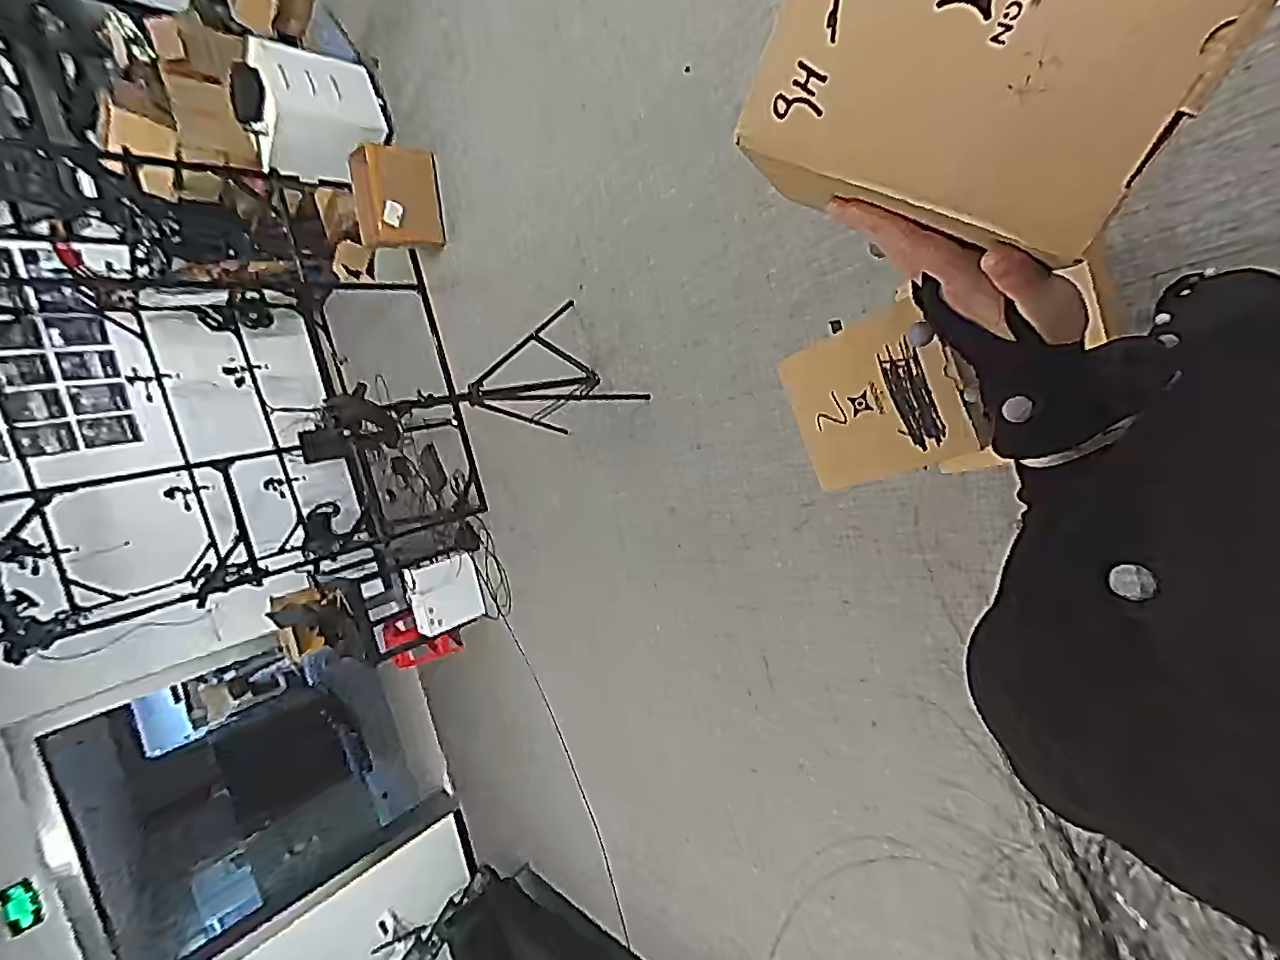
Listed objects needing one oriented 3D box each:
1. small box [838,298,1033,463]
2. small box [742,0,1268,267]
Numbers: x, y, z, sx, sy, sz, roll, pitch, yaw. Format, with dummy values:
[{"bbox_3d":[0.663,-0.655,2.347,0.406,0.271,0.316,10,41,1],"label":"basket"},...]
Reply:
[{"bbox_3d":[0.413,-0.137,0.747,0.179,0.176,0.168,-22,86,48],"label":"small box"},{"bbox_3d":[0.184,-0.229,0.296,0.179,0.176,0.168,28,116,13],"label":"small box"}]
